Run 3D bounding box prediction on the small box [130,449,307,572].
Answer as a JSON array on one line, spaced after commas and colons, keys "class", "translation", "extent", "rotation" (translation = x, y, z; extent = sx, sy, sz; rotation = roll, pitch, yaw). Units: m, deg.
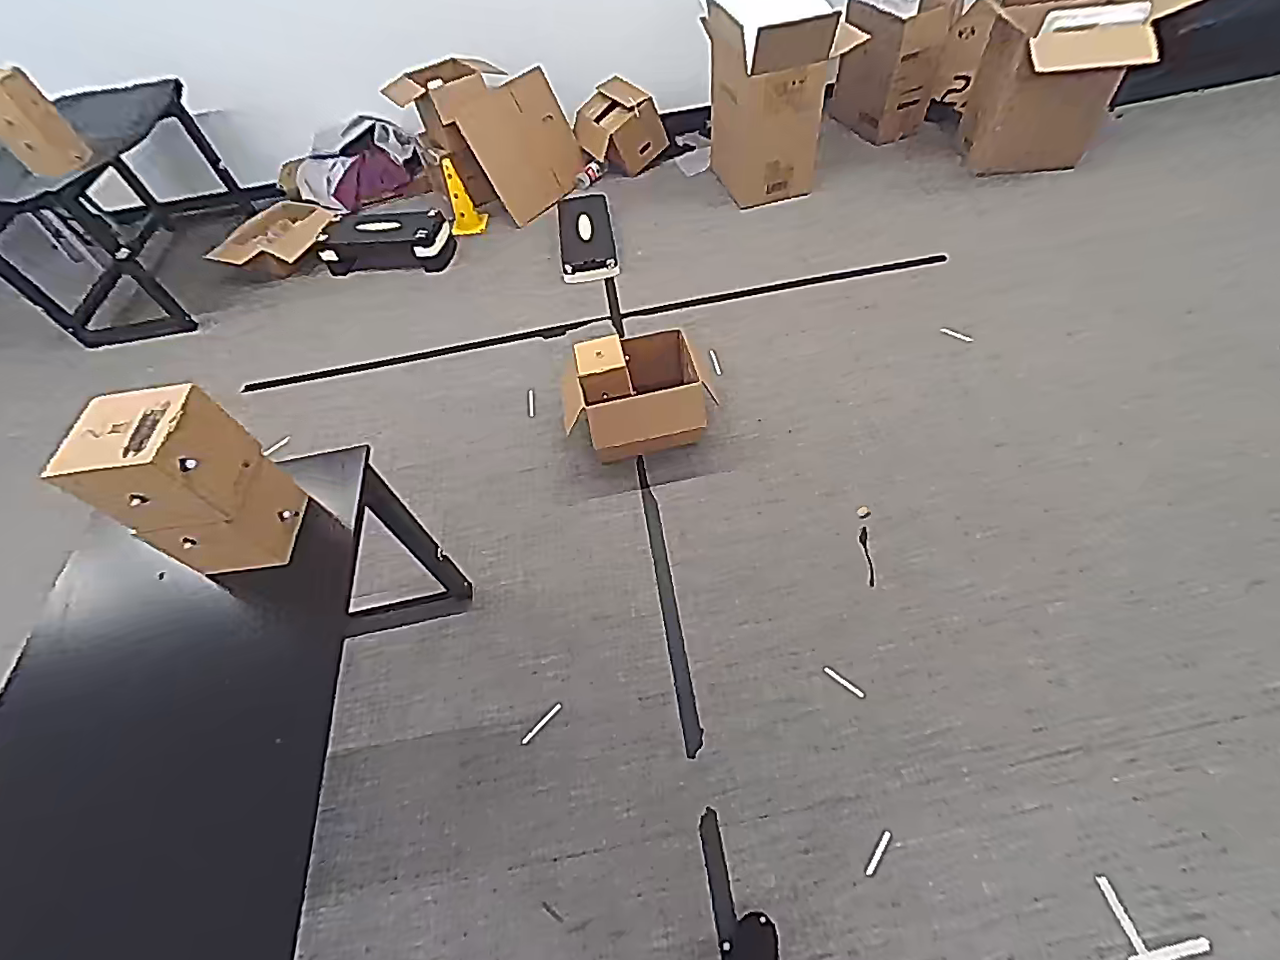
[{"class": "small box", "translation": [-0.785, 0.064, 1.030], "extent": [0.179, 0.176, 0.168], "rotation": [-7, 55, 2]}]
